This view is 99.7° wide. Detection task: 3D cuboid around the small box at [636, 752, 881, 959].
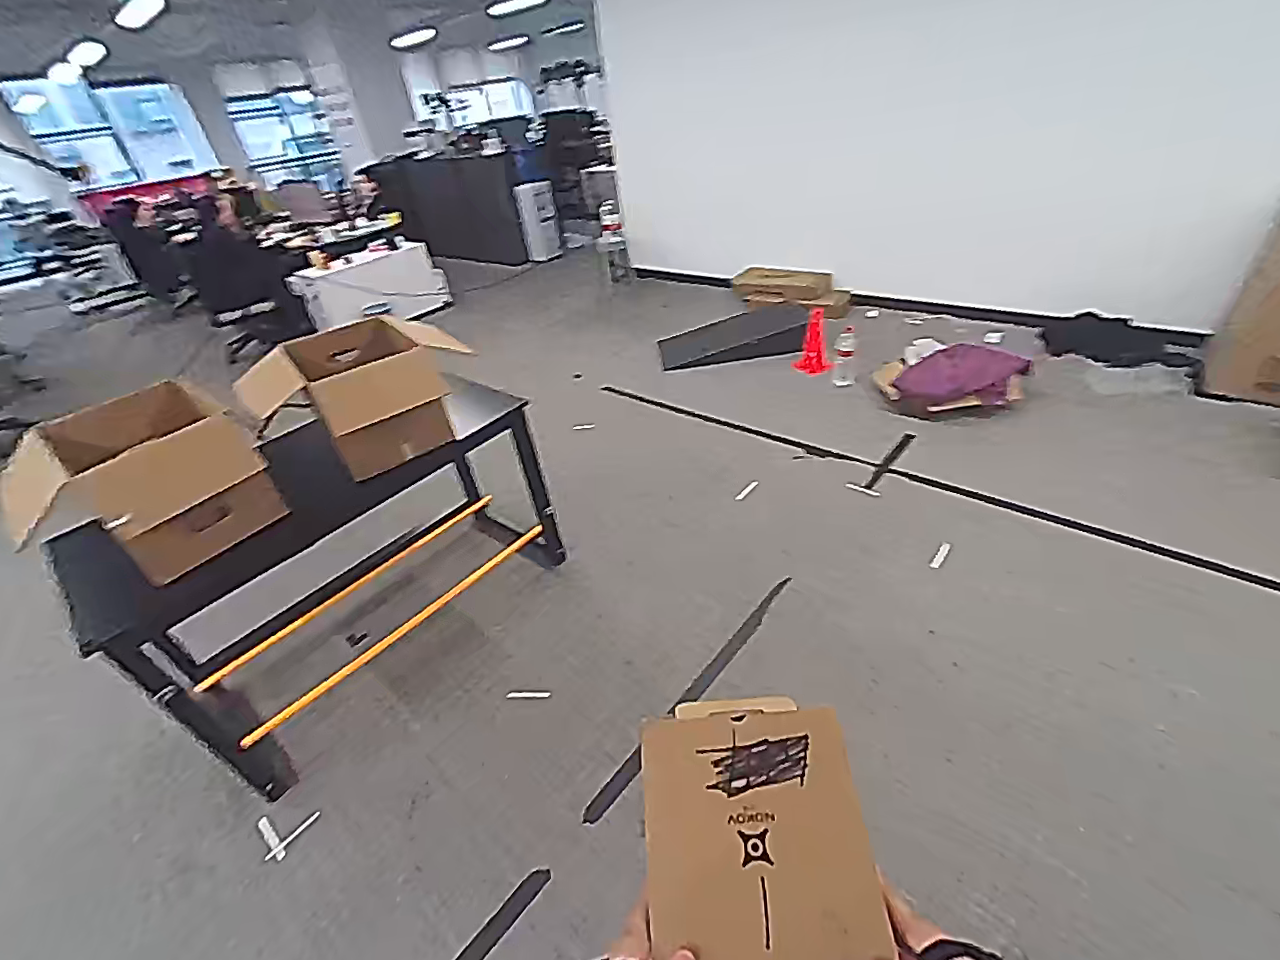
[{"bbox_3d":[0.085,0.348,0.457,0.168,0.176,0.179,-6,52,1],"label":"small box"}]
